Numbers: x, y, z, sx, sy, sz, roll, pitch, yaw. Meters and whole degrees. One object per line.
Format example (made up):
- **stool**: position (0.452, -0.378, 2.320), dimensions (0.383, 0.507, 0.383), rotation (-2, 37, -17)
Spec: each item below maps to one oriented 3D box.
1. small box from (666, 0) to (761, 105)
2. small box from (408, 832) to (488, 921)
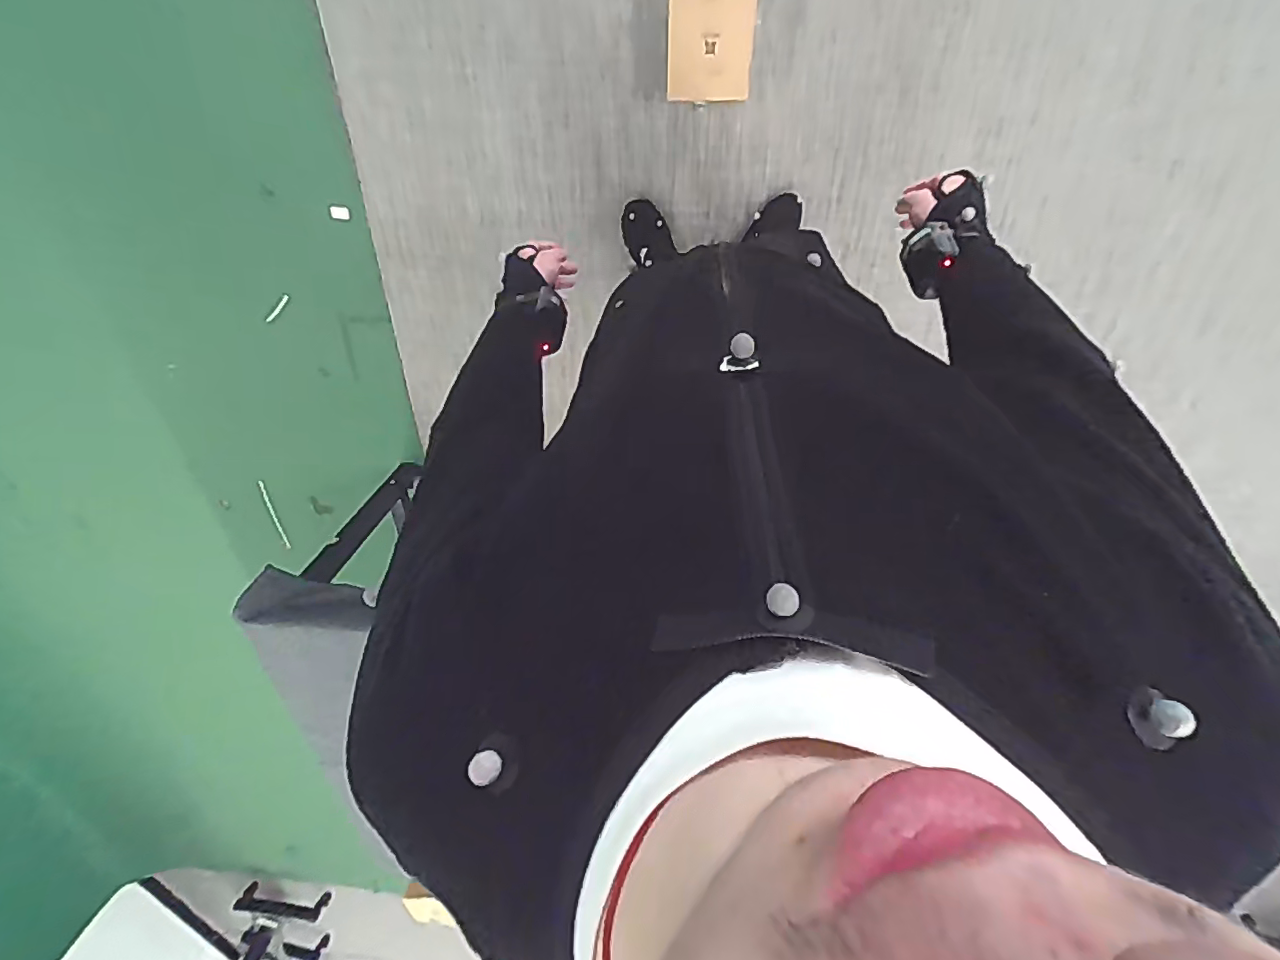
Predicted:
- **small box**: position (0.145, -0.869, 1.085), dimensions (0.168, 0.176, 0.179), rotation (6, 123, 6)
- **small box**: position (-0.585, 1.220, 1.670), dimensions (0.168, 0.176, 0.179), rotation (2, 122, 5)
